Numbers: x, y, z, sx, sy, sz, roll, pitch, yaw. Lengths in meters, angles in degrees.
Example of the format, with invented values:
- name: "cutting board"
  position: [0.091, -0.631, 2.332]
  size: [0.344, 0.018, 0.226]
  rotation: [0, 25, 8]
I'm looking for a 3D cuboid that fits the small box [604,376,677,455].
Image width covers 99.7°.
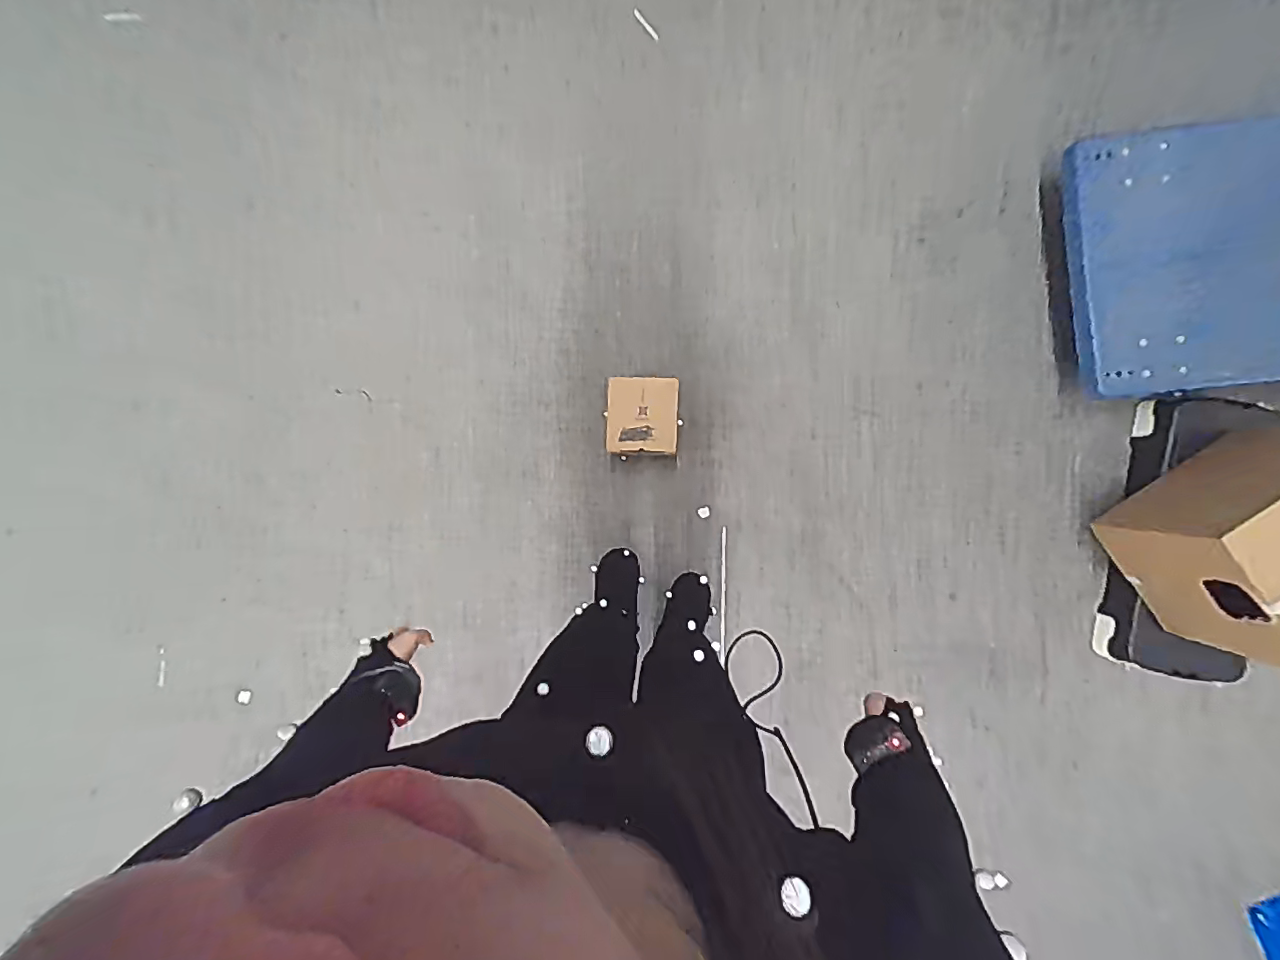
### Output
- name: "small box"
  position: [0.005, -0.154, 1.333]
  size: [0.168, 0.176, 0.179]
  rotation: [2, 90, 2]
